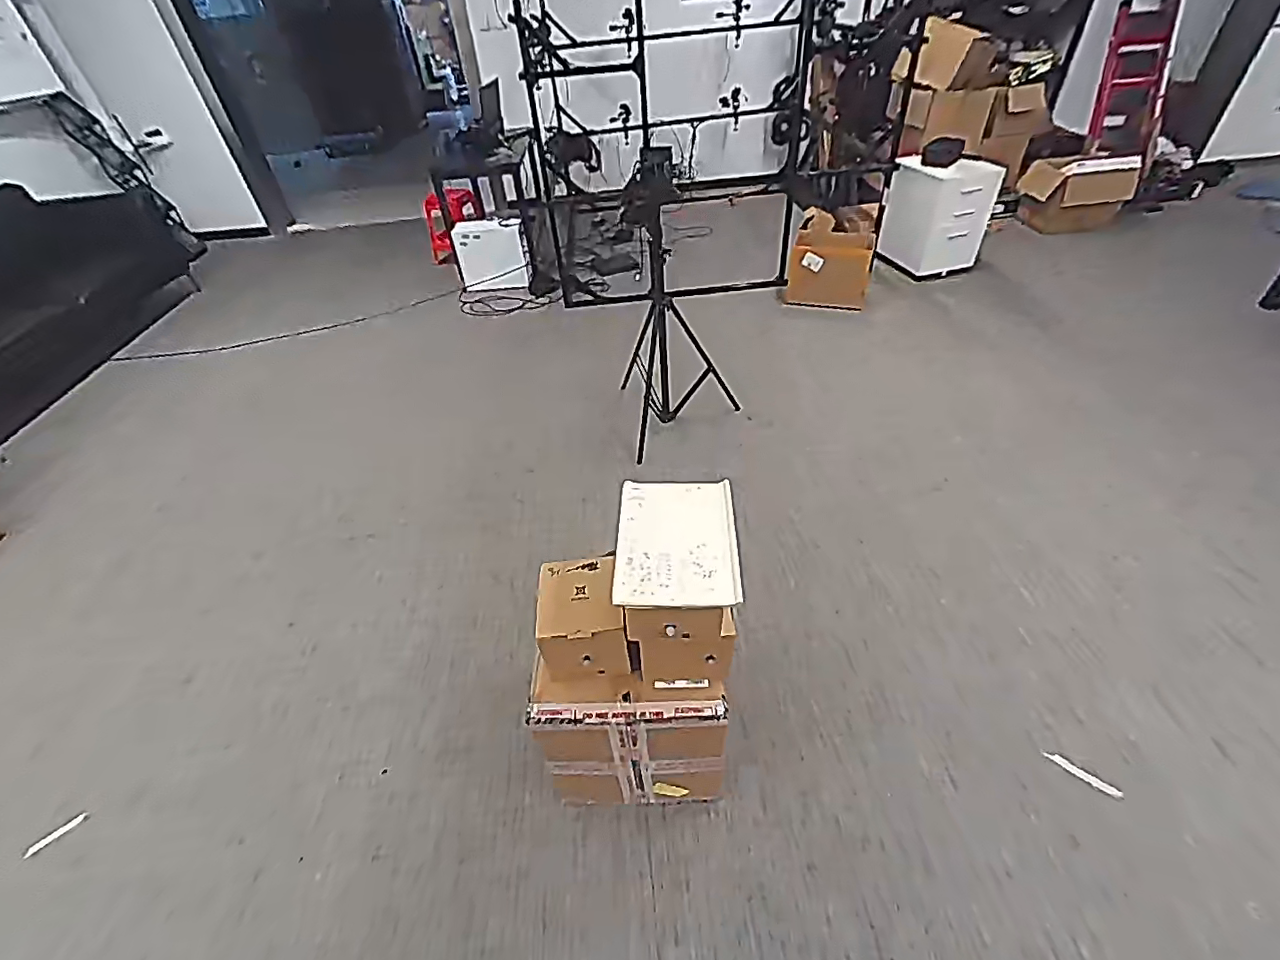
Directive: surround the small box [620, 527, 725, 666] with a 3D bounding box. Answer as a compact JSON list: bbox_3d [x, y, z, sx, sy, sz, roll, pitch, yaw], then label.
[{"bbox_3d":[0.055,0.203,0.950,0.168,0.176,0.179,1,44,3],"label":"small box"}]
